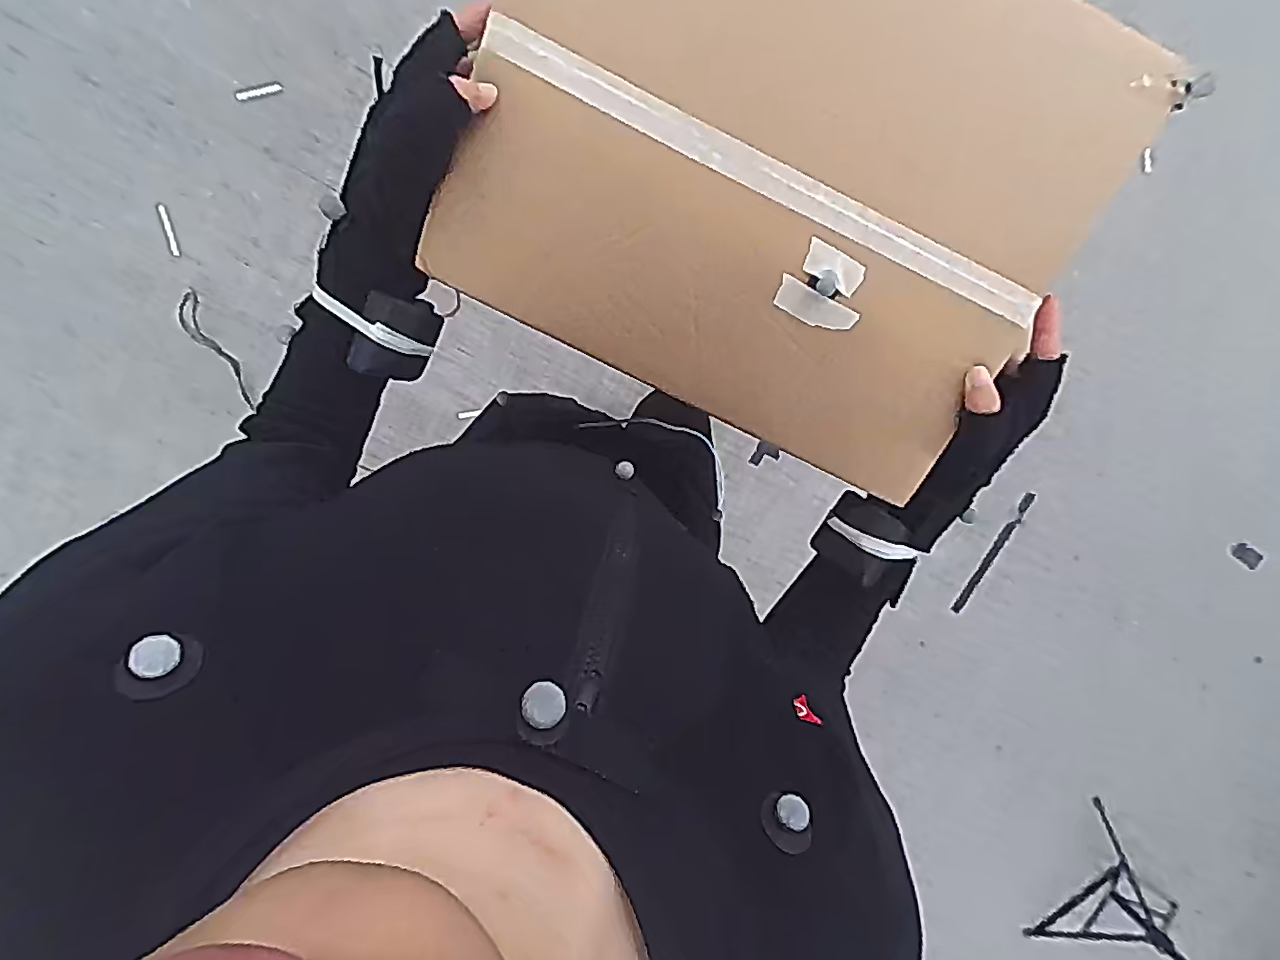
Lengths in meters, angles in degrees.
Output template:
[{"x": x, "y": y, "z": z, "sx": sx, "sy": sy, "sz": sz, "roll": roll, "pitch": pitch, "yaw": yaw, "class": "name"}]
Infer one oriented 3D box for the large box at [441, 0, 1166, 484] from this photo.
[{"x": 0.100, "y": -0.251, "z": 0.513, "sx": 0.408, "sy": 0.320, "sz": 0.320, "roll": 26, "pitch": 108, "yaw": -4, "class": "large box"}]
